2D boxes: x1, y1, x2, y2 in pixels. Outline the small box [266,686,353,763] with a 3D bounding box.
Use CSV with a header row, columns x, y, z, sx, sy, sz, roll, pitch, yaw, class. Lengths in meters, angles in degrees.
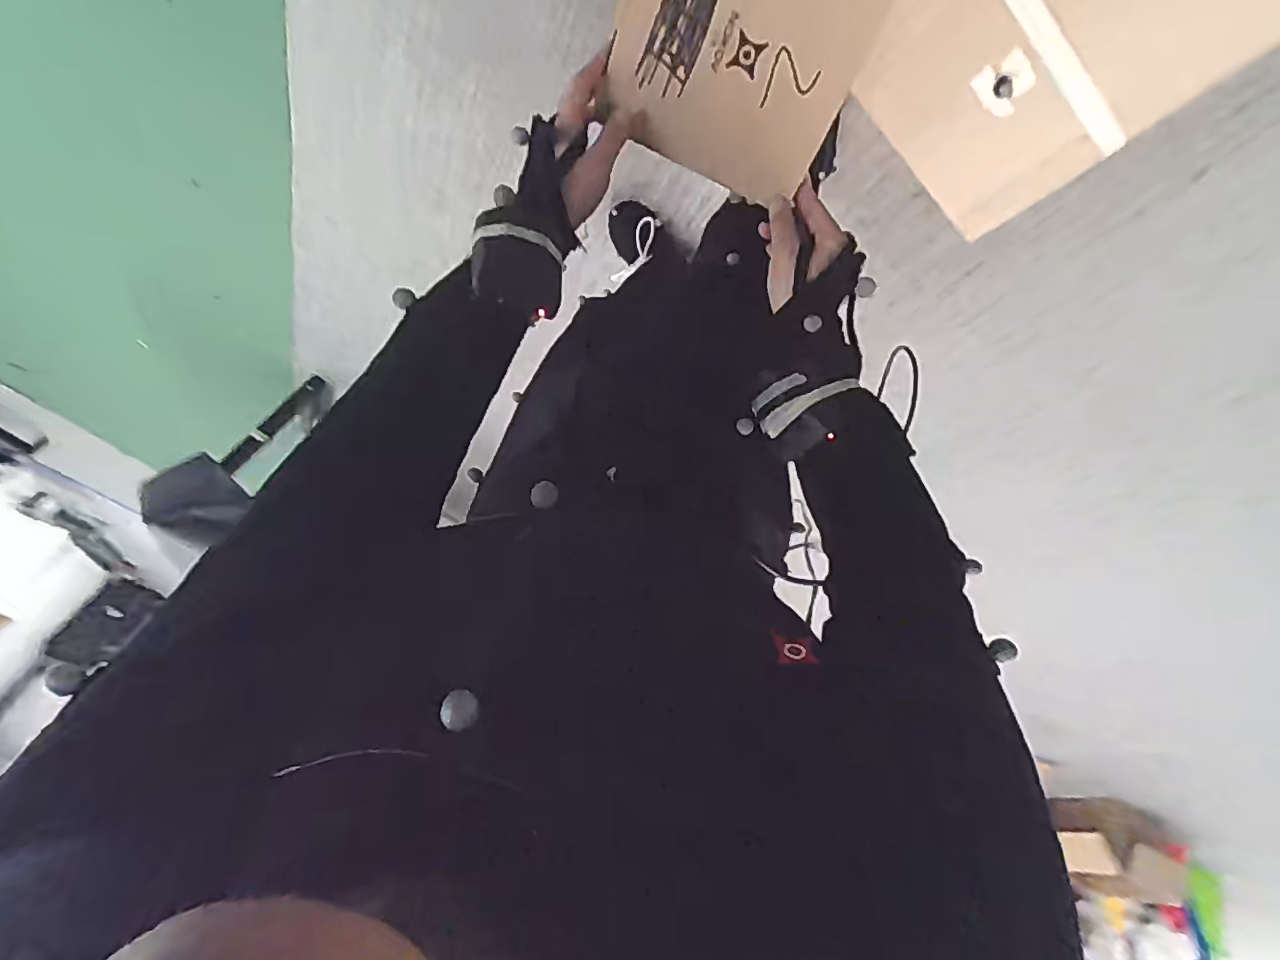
x,y,z,sx,sy,sz,roll,pitch,yaw,class
-1.054,0.789,1.744,0.179,0.176,0.168,32,143,-8,small box
